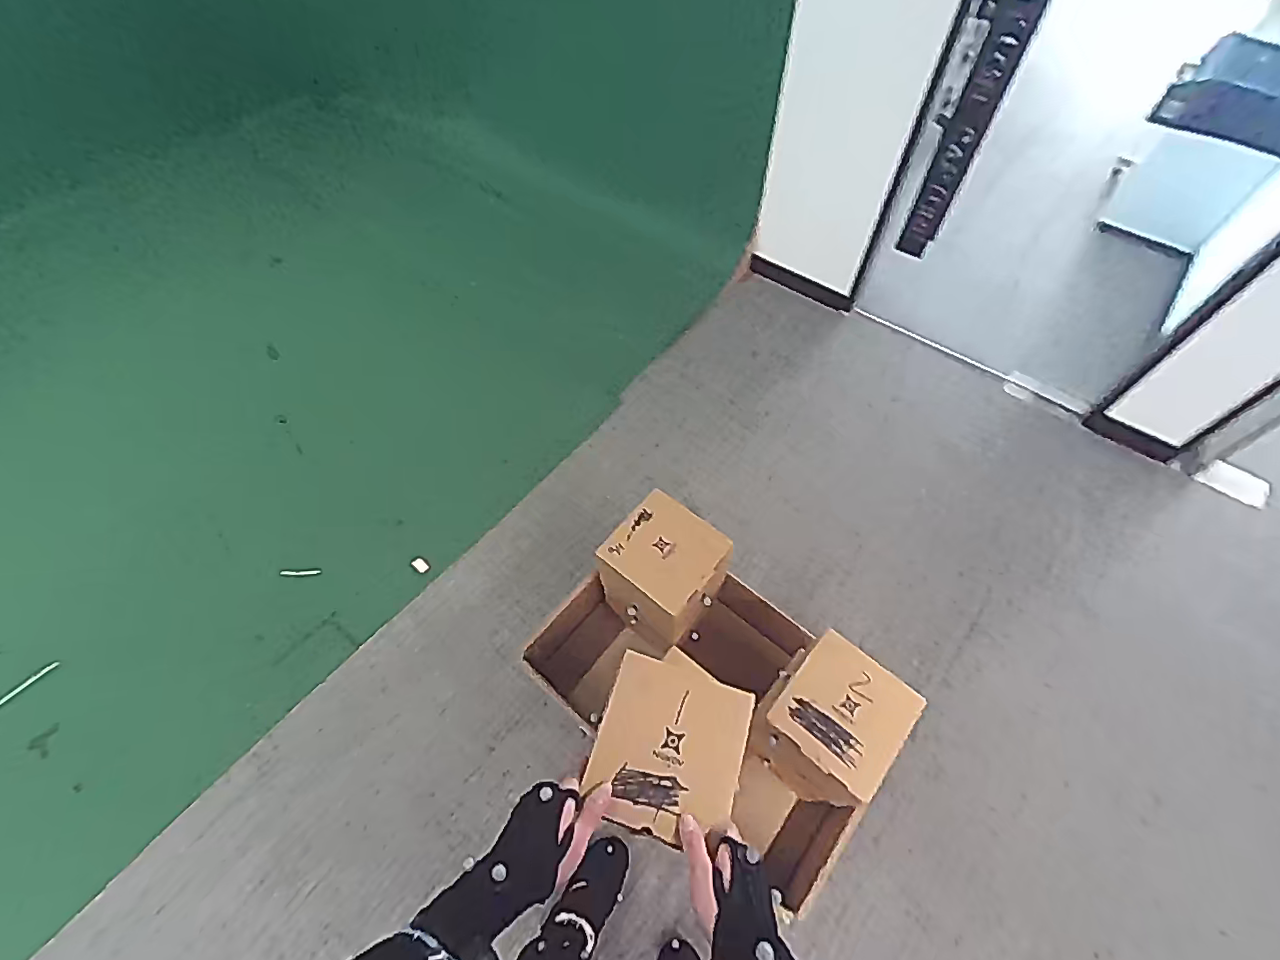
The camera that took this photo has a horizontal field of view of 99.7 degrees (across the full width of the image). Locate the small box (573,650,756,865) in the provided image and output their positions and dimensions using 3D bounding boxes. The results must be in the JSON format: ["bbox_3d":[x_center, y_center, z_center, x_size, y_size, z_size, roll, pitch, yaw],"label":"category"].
[{"bbox_3d":[0.026,0.337,0.671,0.168,0.176,0.179,19,61,3],"label":"small box"}]

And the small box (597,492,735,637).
[{"bbox_3d":[0.046,0.161,0.973,0.179,0.176,0.168,37,66,20],"label":"small box"}]
